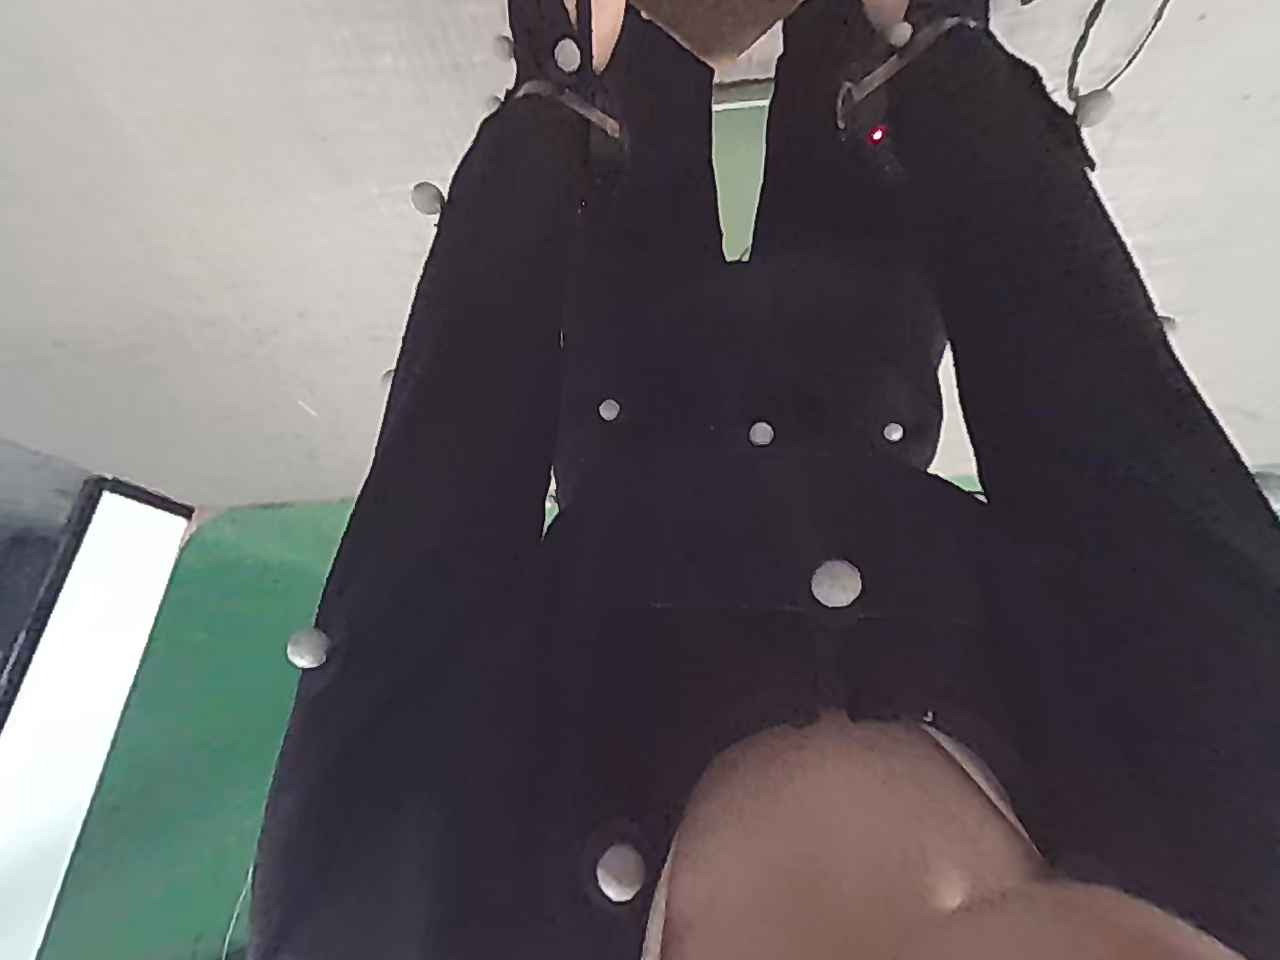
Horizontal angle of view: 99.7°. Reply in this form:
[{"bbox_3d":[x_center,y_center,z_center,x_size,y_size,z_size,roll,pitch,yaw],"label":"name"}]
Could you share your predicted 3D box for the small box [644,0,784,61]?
[{"bbox_3d":[0.055,-0.469,0.379,0.179,0.176,0.168,8,165,-39],"label":"small box"}]
